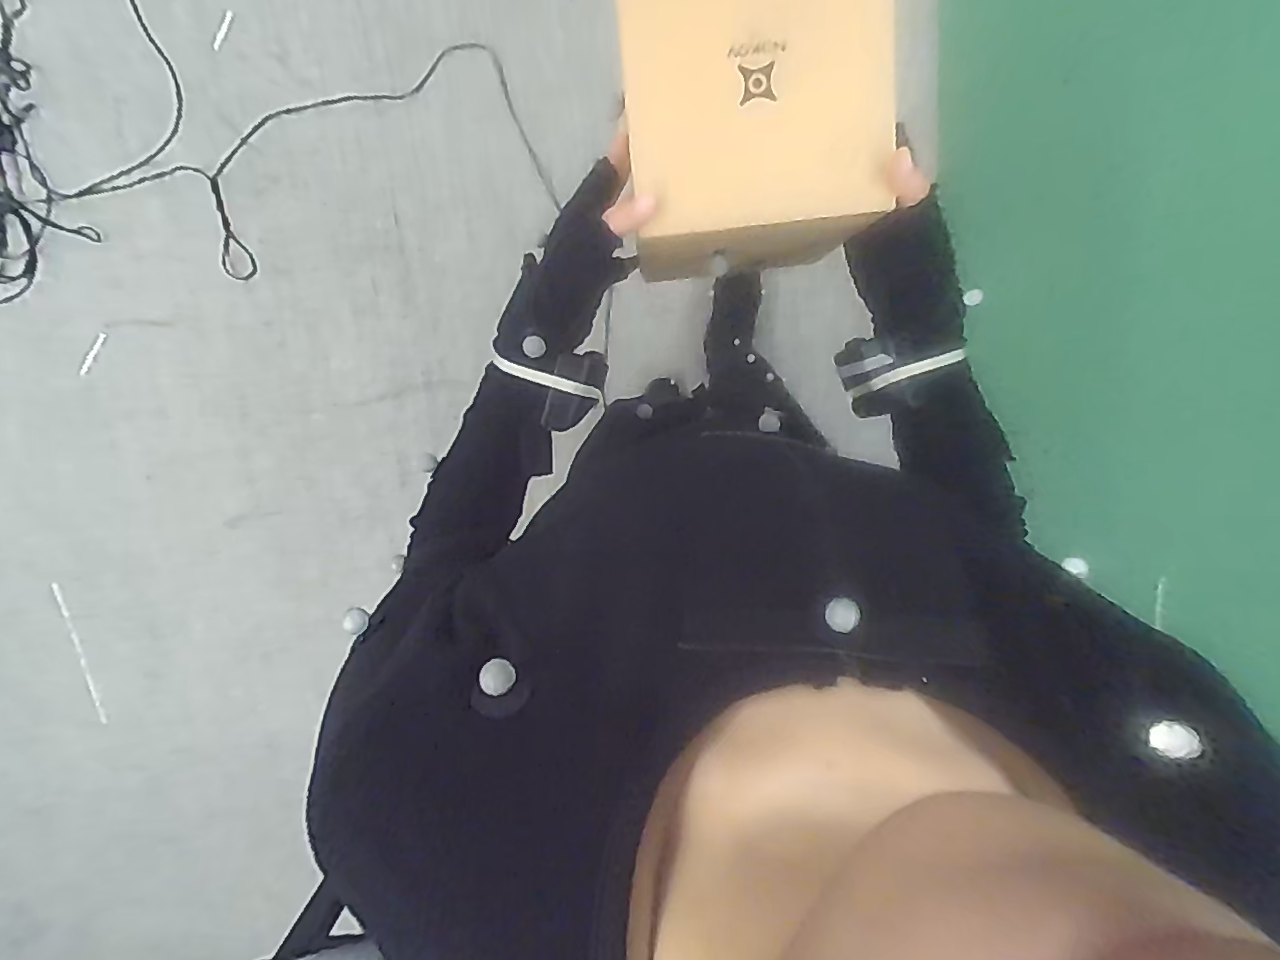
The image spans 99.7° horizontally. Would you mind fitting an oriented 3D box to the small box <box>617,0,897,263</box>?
[{"bbox_3d":[0.074,-0.272,0.404,0.168,0.176,0.179,-6,99,3],"label":"small box"}]
